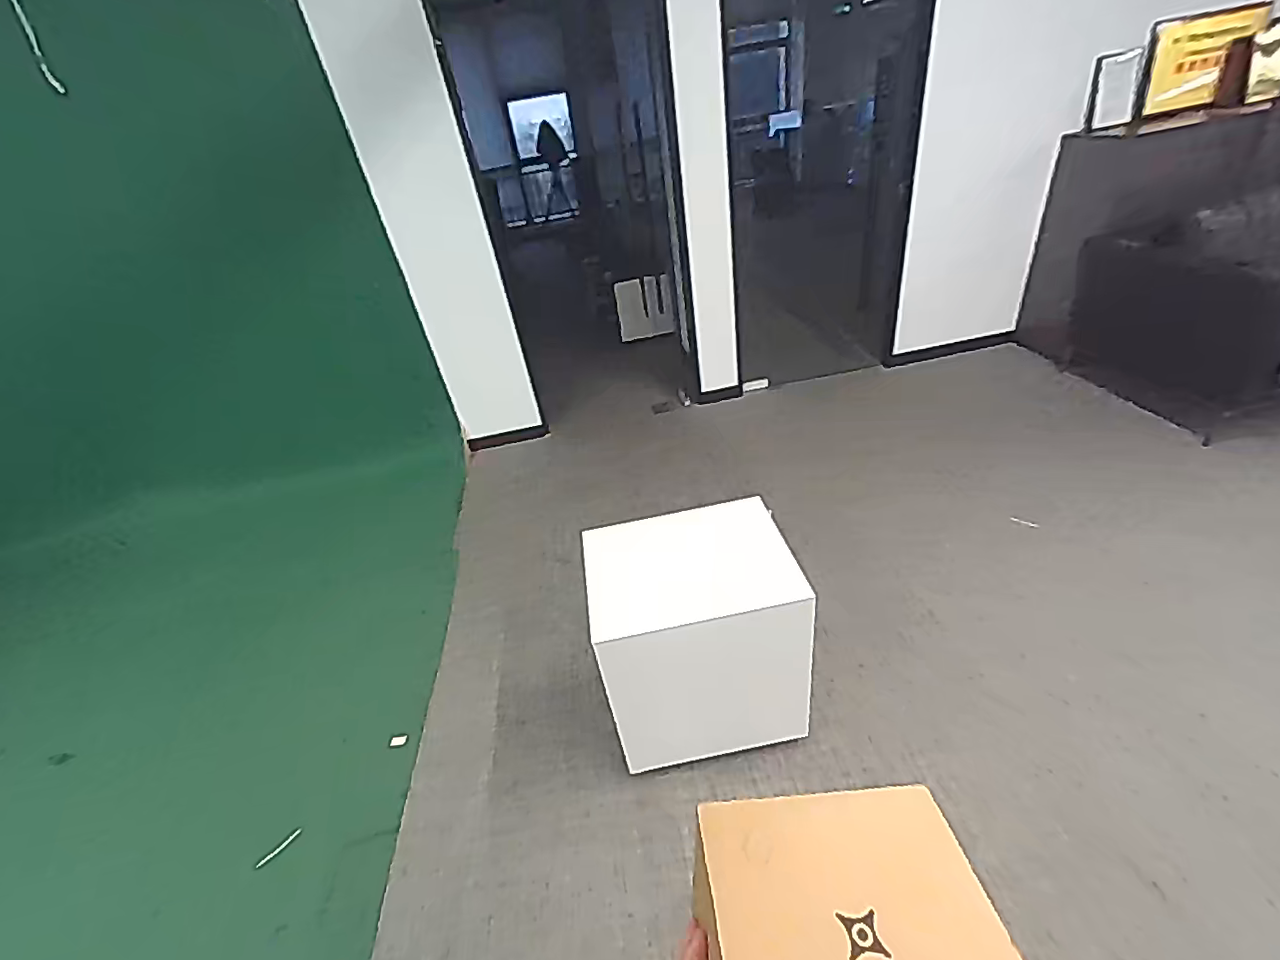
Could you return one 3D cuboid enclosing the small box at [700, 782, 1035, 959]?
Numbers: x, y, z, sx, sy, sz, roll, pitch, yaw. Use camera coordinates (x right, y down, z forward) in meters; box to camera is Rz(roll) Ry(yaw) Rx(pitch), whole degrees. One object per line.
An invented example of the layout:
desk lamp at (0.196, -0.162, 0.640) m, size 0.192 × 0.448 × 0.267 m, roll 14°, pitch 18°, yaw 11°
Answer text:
small box at (0.132, 0.327, 0.336) m, size 0.168 × 0.176 × 0.179 m, roll -4°, pitch 27°, yaw -3°
